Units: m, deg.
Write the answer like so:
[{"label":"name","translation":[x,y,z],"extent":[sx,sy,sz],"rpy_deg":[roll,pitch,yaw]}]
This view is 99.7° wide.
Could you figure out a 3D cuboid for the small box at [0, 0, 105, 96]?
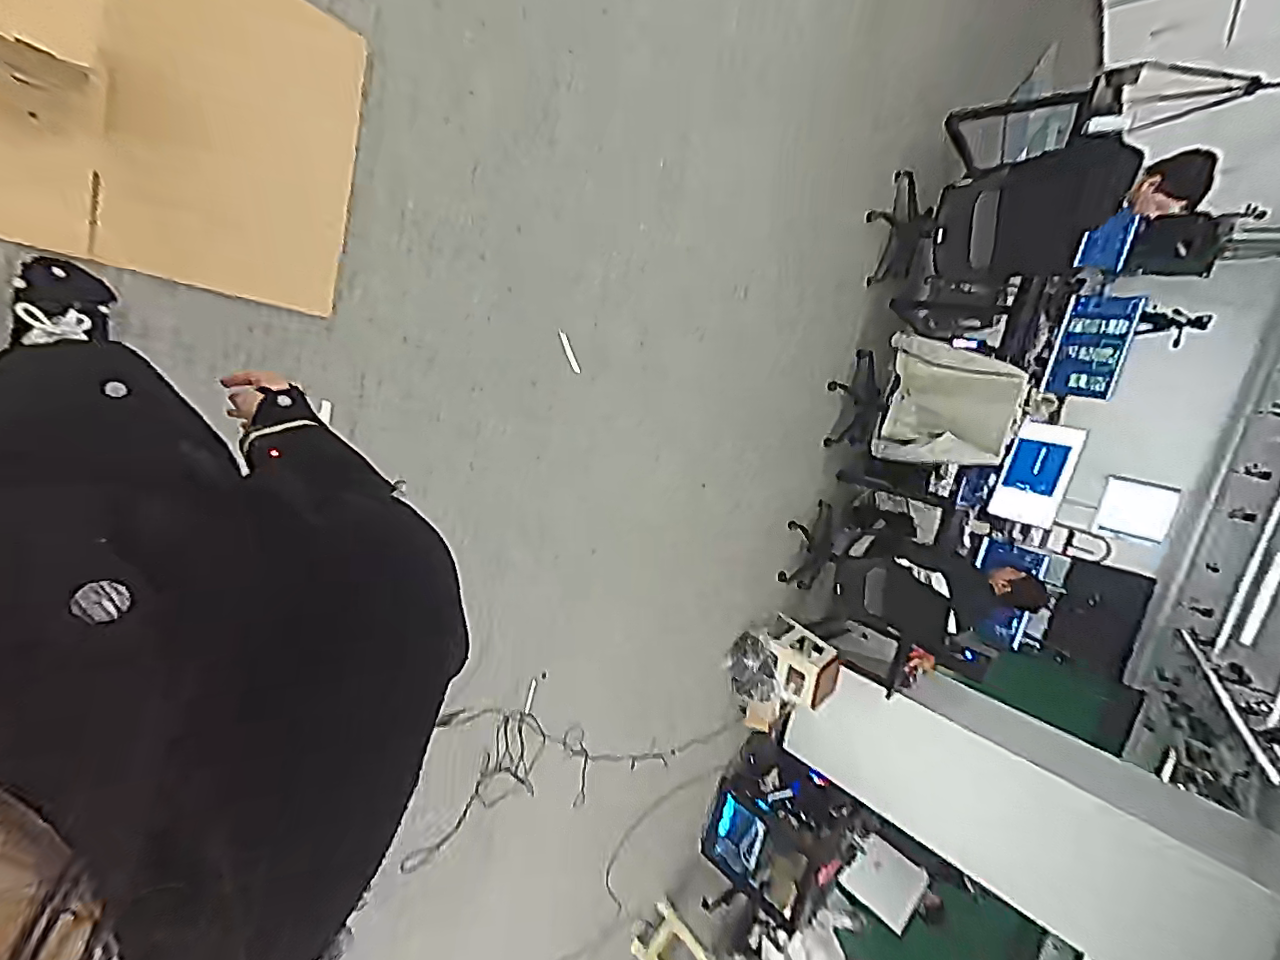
[{"label":"small box","translation":[-0.708,-0.568,0.592],"extent":[0.168,0.176,0.179],"rpy_deg":[7,101,-49]}]
